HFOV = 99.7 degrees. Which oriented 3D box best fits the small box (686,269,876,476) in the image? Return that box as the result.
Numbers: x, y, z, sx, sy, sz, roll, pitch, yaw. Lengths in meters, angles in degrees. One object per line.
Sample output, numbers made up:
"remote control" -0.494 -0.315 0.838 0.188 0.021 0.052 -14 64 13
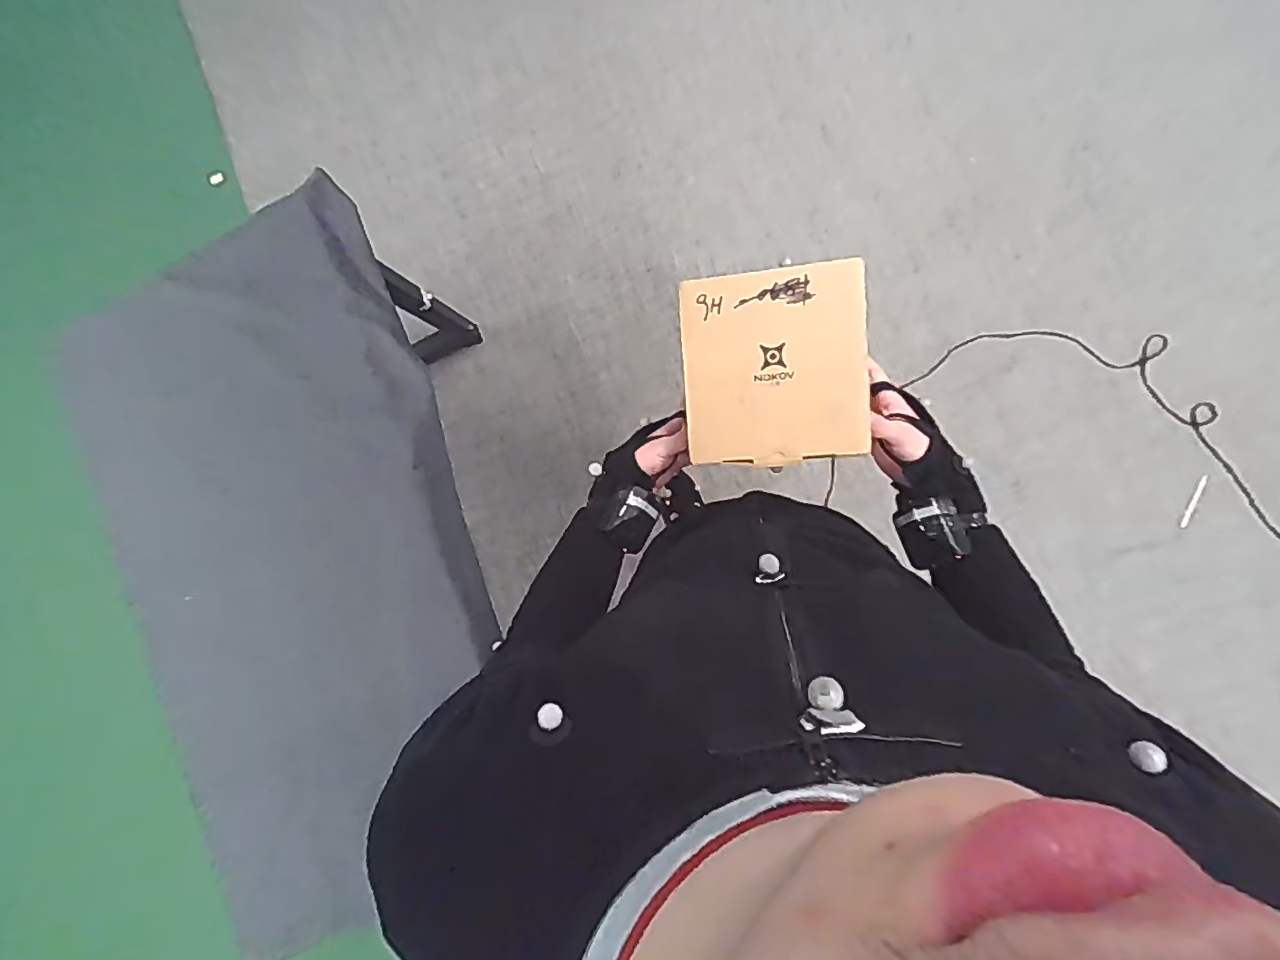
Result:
"small box" 0.146 -0.102 0.572 0.168 0.176 0.179 -3 94 13
